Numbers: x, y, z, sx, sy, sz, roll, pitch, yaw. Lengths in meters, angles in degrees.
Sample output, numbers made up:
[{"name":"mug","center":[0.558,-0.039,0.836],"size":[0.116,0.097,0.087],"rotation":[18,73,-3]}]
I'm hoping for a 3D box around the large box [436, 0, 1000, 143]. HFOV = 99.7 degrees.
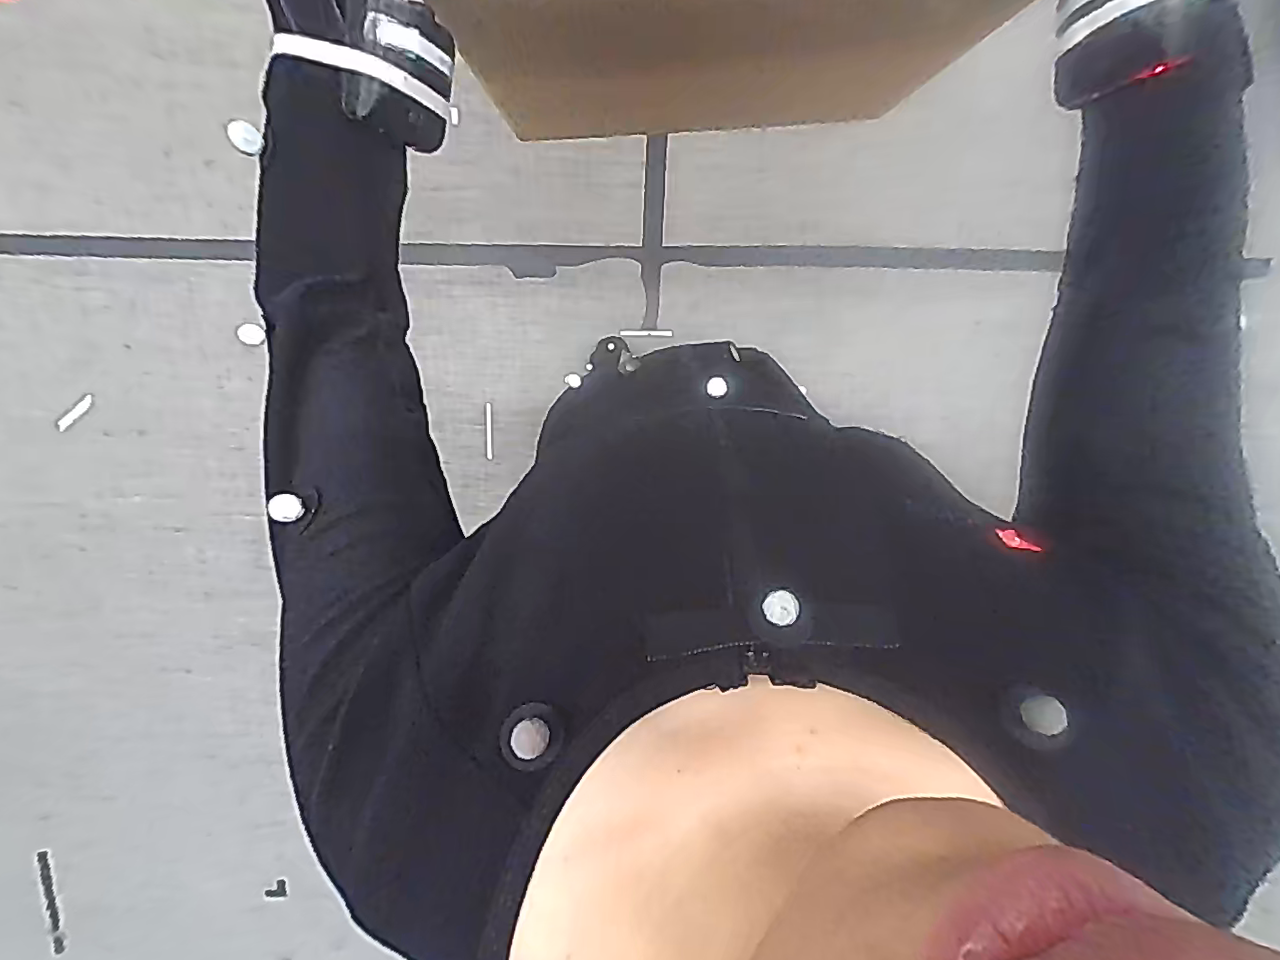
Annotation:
[{"name":"large box","center":[0.052,-0.490,0.414],"size":[0.408,0.320,0.320],"rotation":[-4,108,0]}]
